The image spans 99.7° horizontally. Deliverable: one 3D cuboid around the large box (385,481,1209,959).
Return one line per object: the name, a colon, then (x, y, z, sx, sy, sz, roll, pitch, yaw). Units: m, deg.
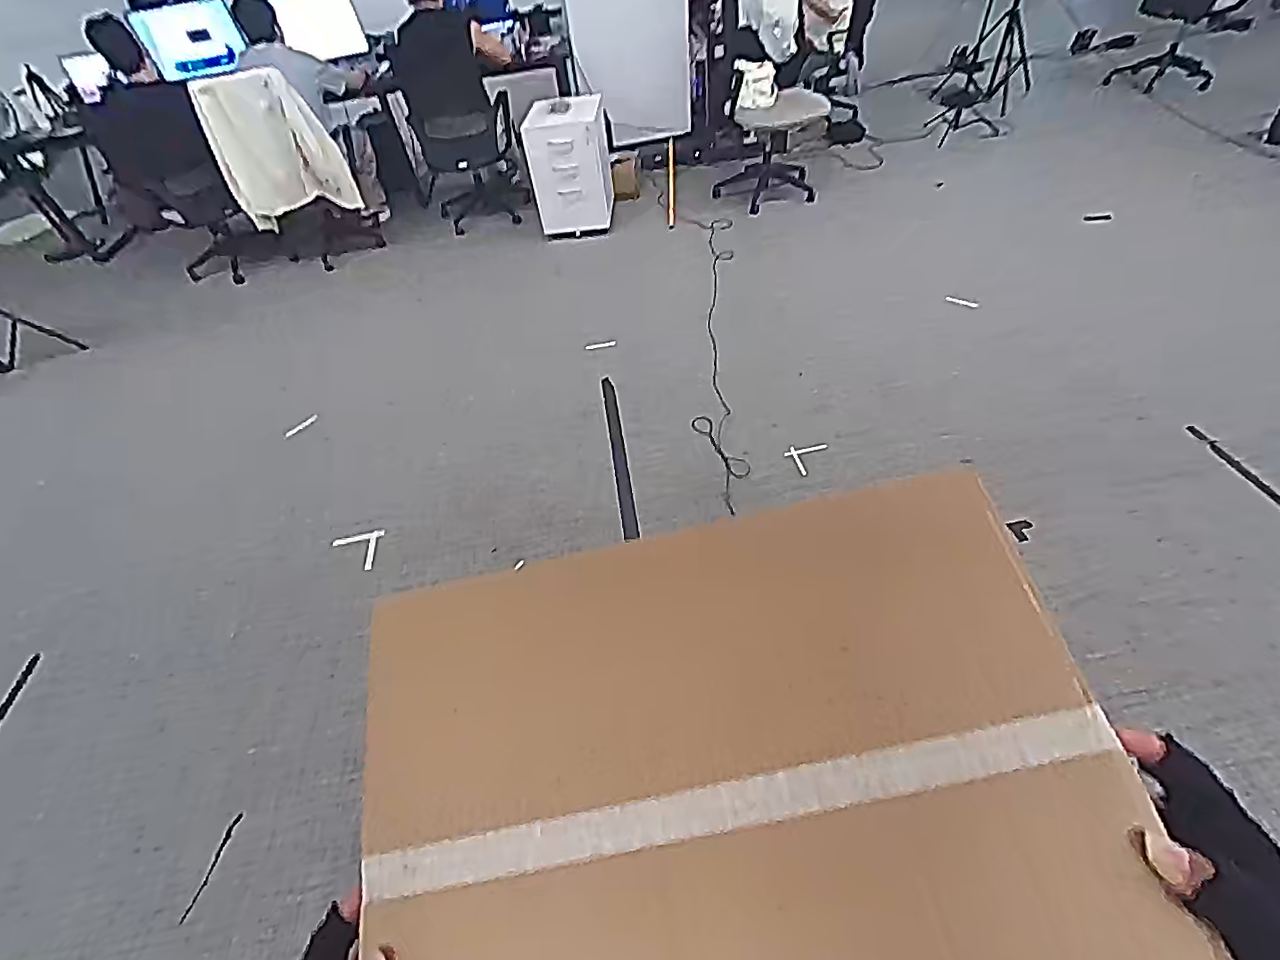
large box: (0.072, 0.242, 0.432, 0.408, 0.320, 0.320, -14, 62, 3)
